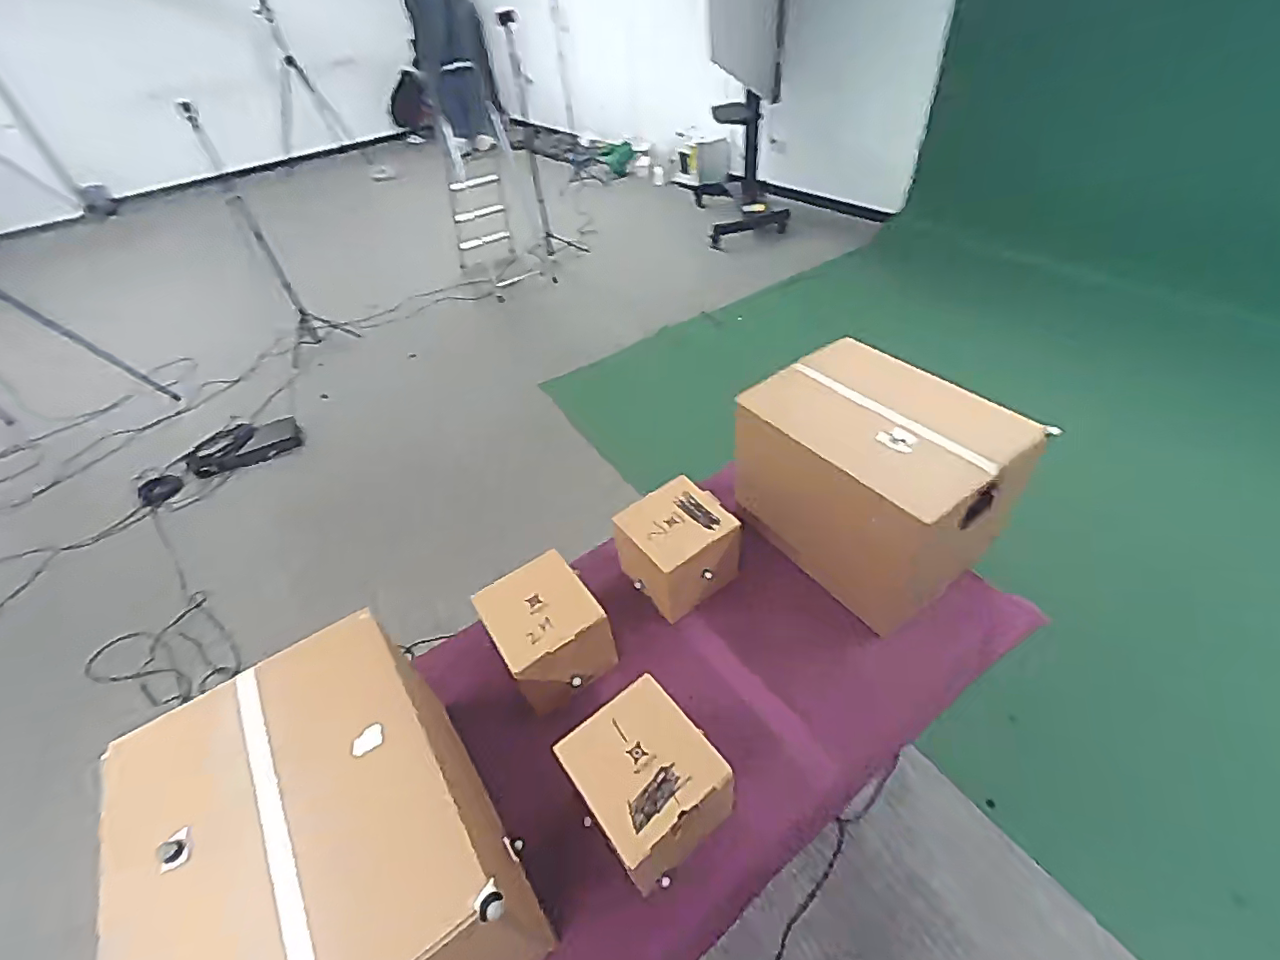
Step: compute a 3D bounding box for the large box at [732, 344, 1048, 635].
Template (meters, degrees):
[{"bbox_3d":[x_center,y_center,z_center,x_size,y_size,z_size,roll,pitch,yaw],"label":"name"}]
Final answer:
[{"bbox_3d":[0.424,0.001,1.025,0.320,0.320,0.408,-30,49,-20],"label":"large box"}]
